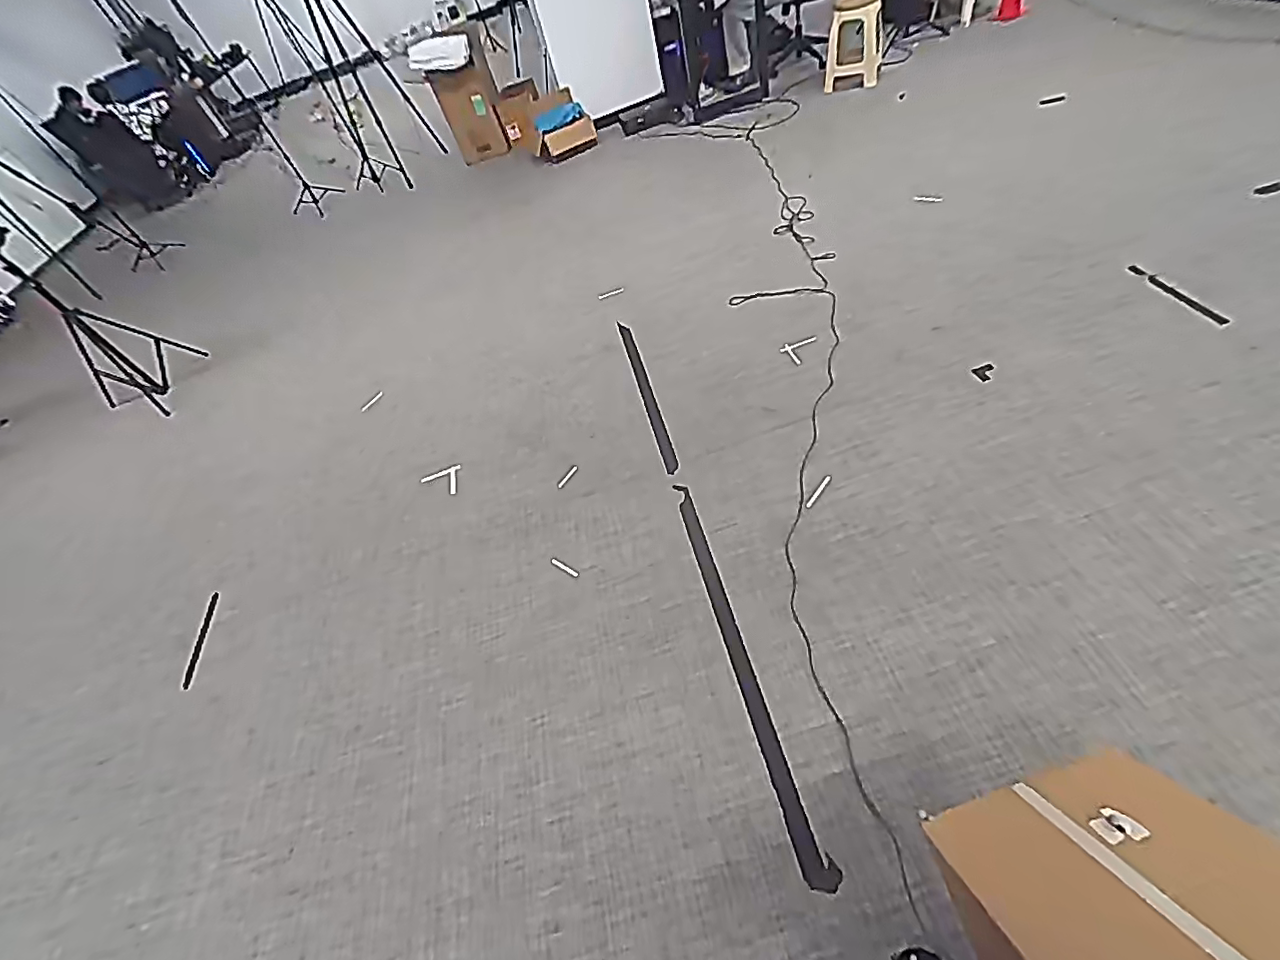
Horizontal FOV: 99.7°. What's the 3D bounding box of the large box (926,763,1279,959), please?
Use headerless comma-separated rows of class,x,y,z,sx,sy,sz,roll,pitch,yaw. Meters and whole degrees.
large box,0.626,0.615,0.618,0.320,0.408,0.320,-21,87,1
